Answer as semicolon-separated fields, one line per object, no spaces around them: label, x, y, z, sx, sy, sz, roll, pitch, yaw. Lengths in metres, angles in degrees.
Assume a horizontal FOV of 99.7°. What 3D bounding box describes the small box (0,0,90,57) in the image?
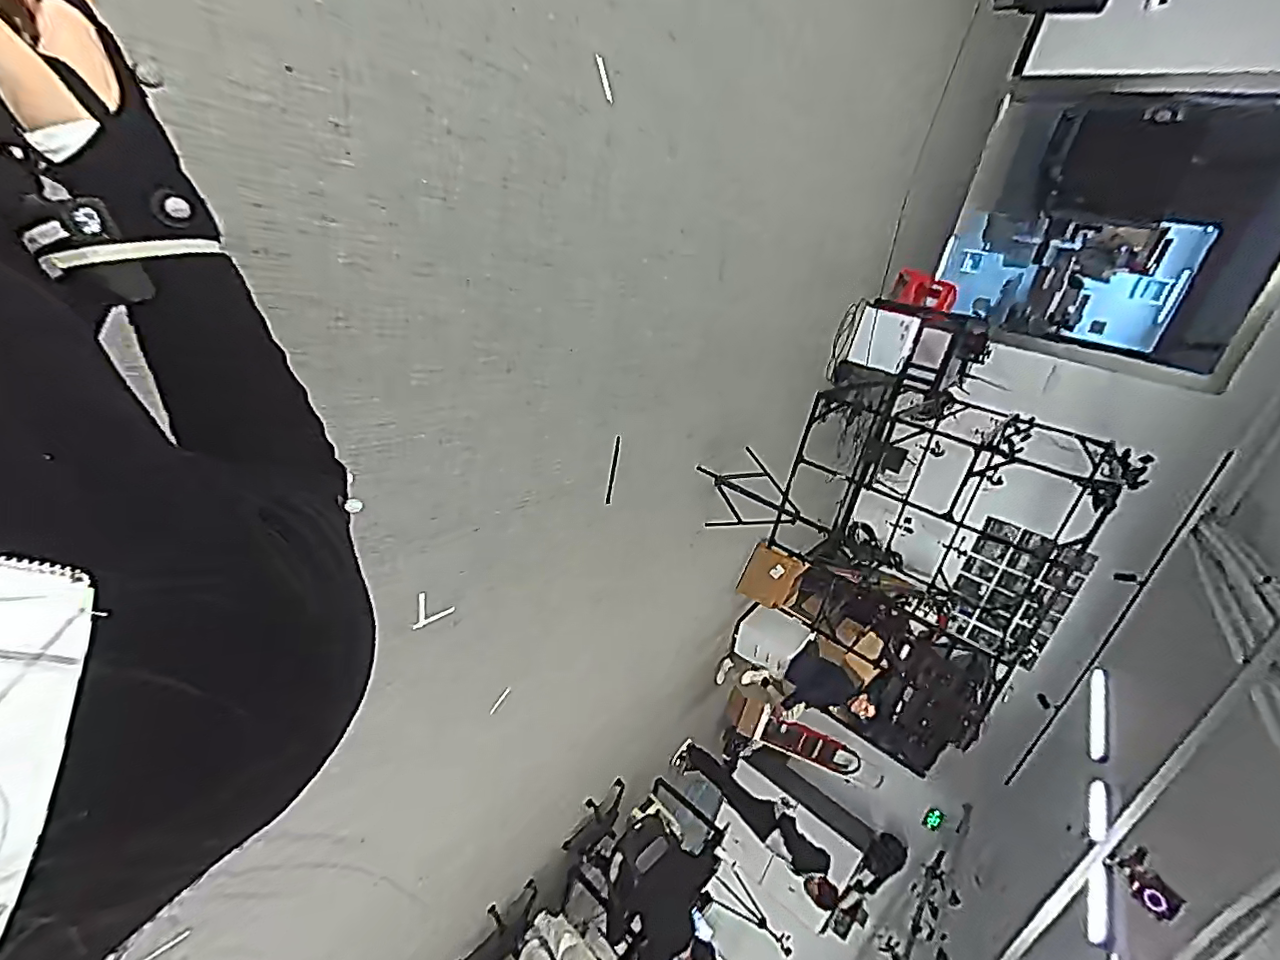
small box;-0.356;-0.315;0.220;0.168;0.176;0.179;-6;120;-52
